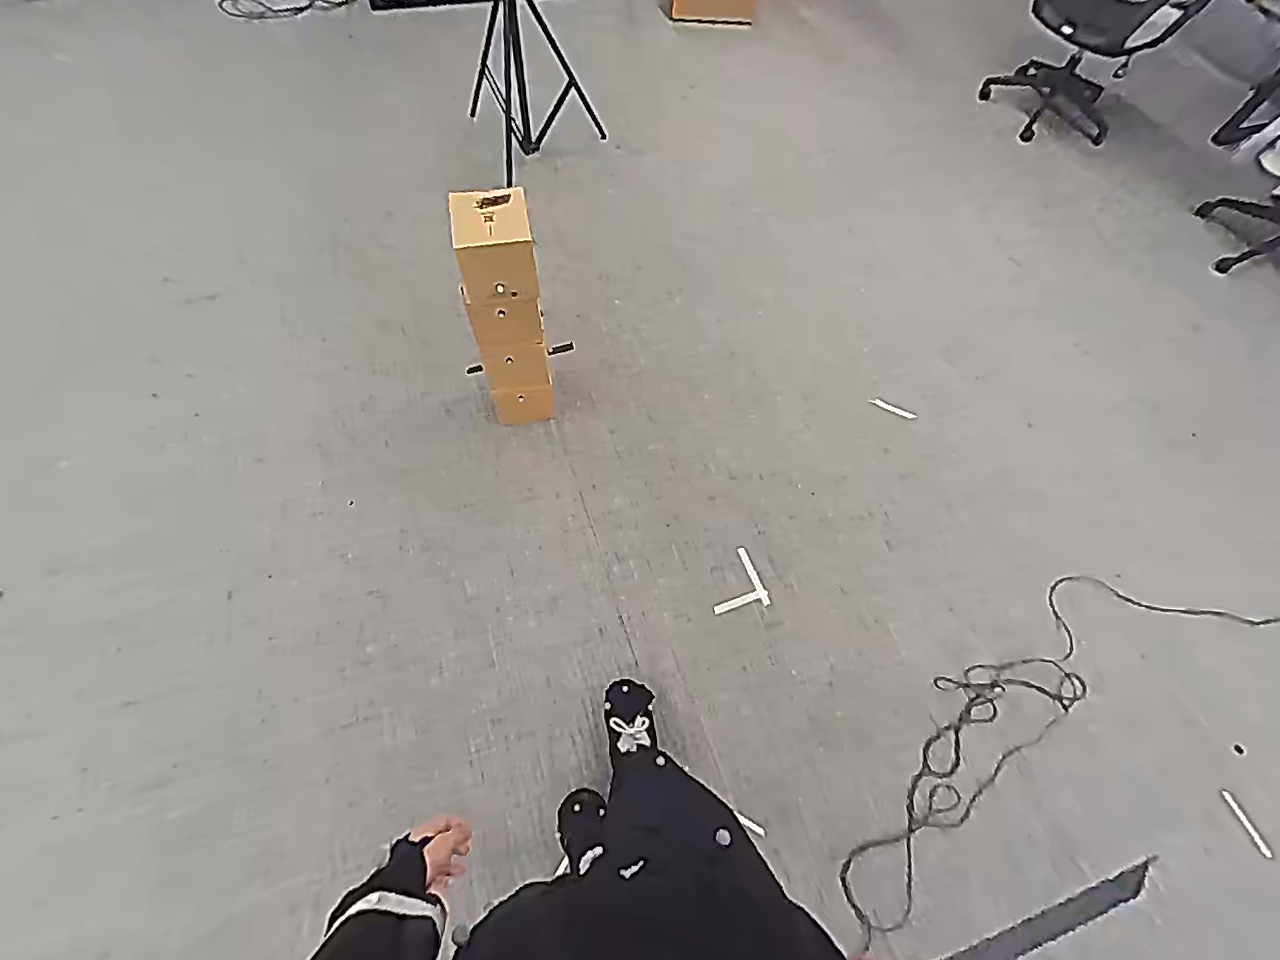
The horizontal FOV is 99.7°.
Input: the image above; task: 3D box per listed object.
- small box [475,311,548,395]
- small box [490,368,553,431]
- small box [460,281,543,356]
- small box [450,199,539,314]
[{"bbox_3d":[-0.360,-0.355,1.531,0.179,0.176,0.168,-6,64,-7],"label":"small box"},{"bbox_3d":[-0.366,-0.271,1.673,0.179,0.176,0.168,-9,63,-8],"label":"small box"},{"bbox_3d":[-0.354,-0.437,1.392,0.179,0.176,0.168,-9,64,-8],"label":"small box"},{"bbox_3d":[-0.333,-0.512,1.246,0.168,0.176,0.179,-9,65,-7],"label":"small box"}]
